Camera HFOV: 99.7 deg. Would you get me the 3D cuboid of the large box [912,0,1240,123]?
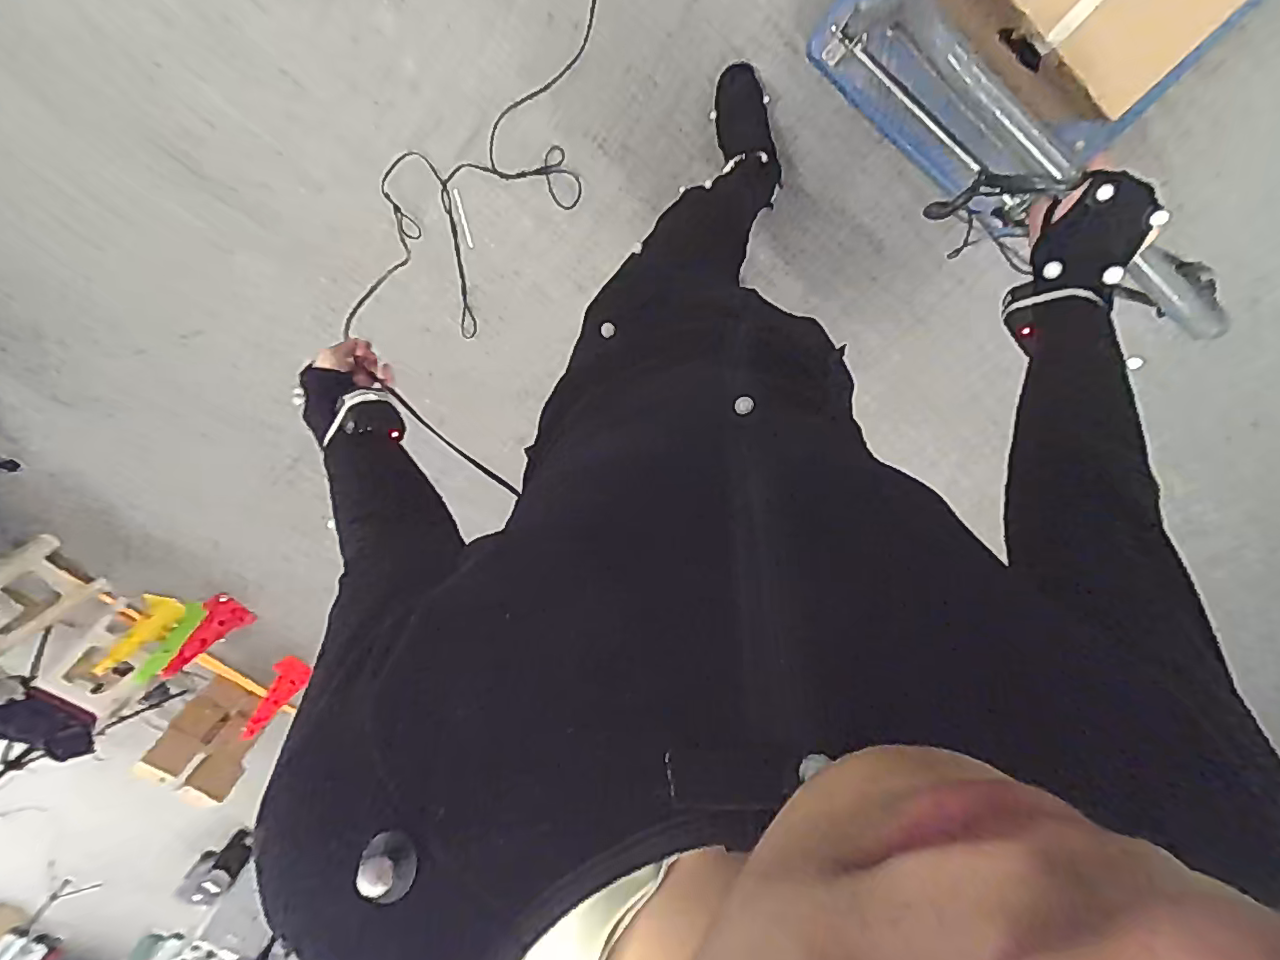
[{"bbox_3d":[0.685,-0.799,0.760,0.320,0.320,0.408,35,121,-14],"label":"large box"}]
